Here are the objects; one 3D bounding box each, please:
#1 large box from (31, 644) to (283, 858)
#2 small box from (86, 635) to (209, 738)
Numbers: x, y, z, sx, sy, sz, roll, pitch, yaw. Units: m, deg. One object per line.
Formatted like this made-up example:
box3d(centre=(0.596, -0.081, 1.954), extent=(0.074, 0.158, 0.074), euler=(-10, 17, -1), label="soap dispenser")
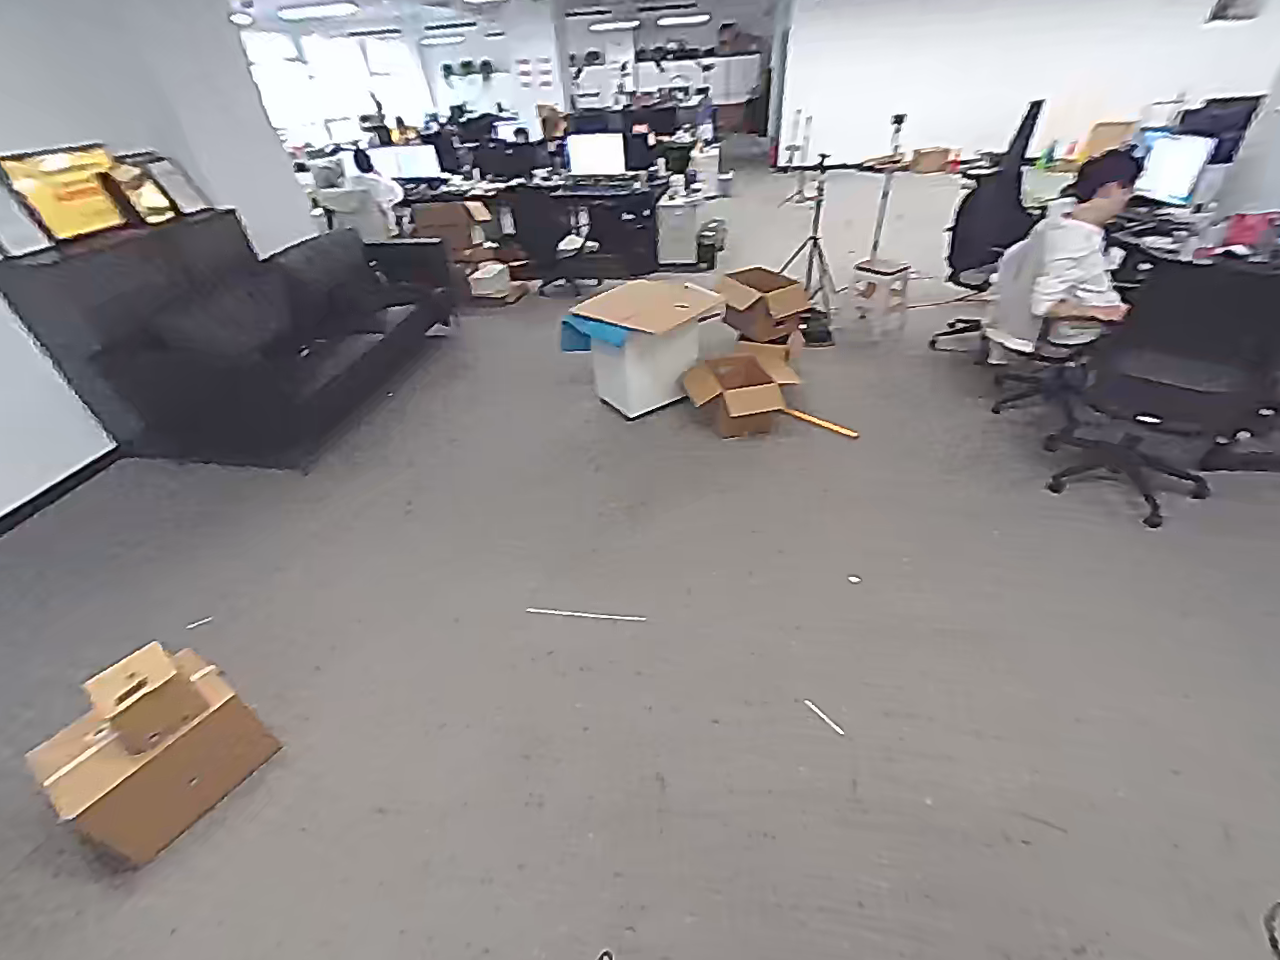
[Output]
box3d(centre=(-1.386, 0.780, 1.593), extent=(0.320, 0.320, 0.408), euler=(19, 44, 27), label="large box")
box3d(centre=(-1.323, 0.565, 1.463), extent=(0.179, 0.176, 0.168), euler=(24, 45, 29), label="small box")
